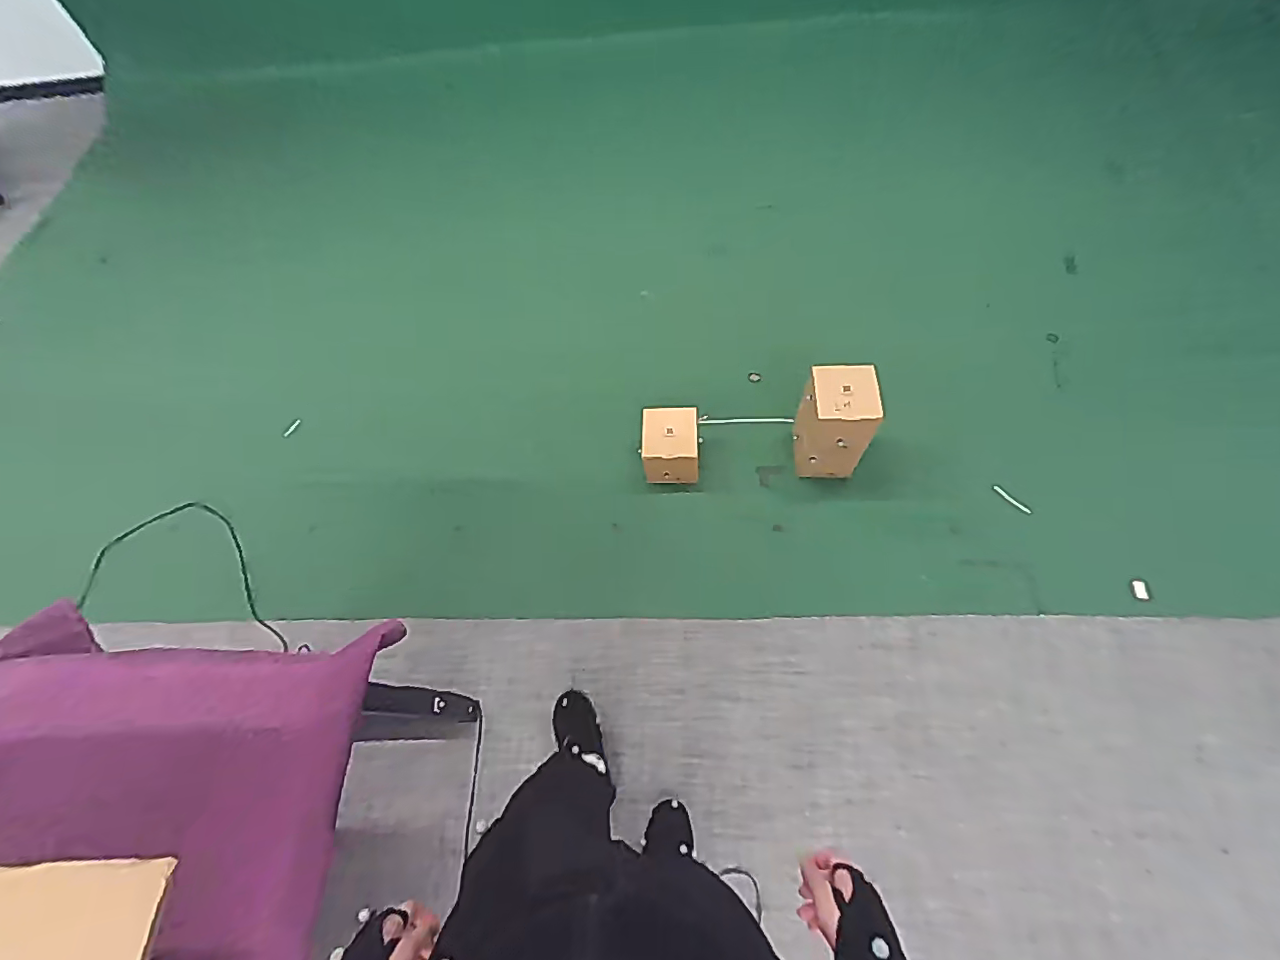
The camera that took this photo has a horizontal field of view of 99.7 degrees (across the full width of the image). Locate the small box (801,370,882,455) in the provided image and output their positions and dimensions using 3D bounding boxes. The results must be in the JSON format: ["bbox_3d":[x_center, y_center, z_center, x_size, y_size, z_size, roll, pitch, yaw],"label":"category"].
[{"bbox_3d":[0.553,-0.187,1.507,0.168,0.176,0.179,0,63,6],"label":"small box"}]

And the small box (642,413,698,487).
[{"bbox_3d":[0.095,-0.092,1.690,0.168,0.176,0.179,-1,64,5],"label":"small box"}]
